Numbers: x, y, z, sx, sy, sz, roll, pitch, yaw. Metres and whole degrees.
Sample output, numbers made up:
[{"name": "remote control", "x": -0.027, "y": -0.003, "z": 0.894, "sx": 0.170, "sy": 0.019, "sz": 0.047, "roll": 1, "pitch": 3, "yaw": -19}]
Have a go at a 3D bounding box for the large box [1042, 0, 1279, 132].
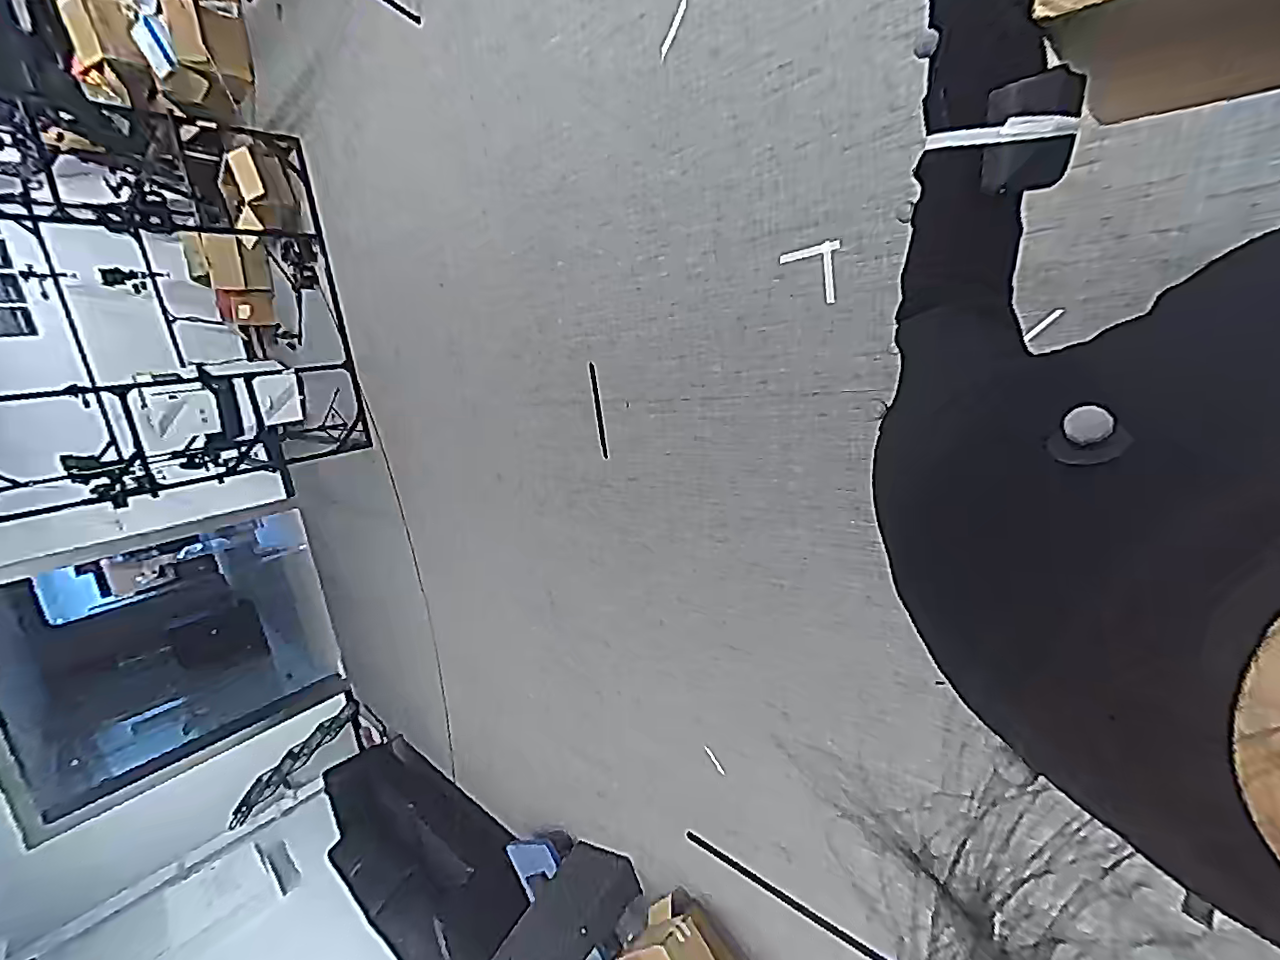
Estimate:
[{"name": "large box", "x": 0.485, "y": -0.427, "z": 0.265, "sx": 0.408, "sy": 0.320, "sz": 0.320, "roll": 13, "pitch": 113, "yaw": 42}]
